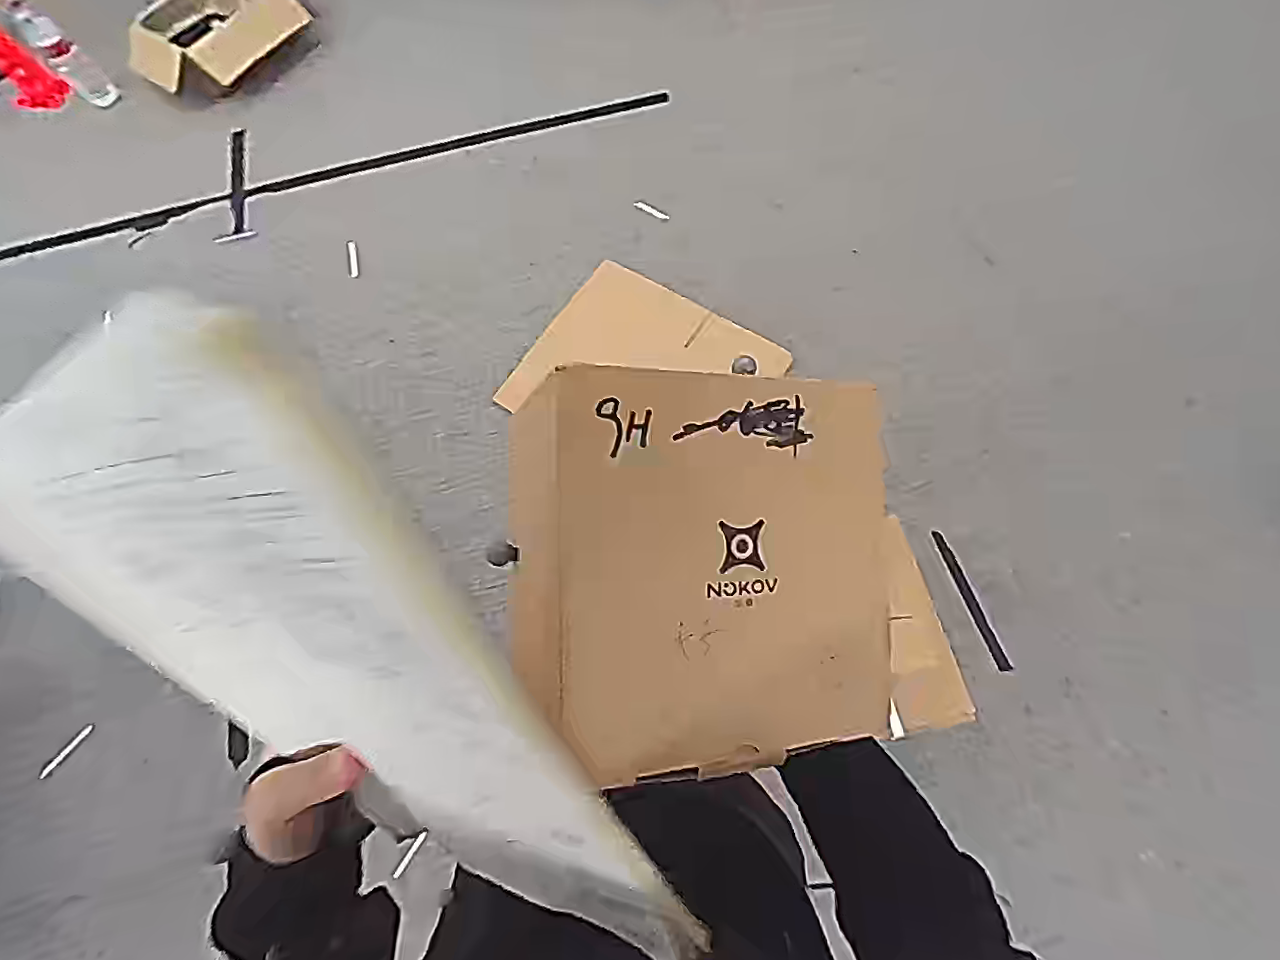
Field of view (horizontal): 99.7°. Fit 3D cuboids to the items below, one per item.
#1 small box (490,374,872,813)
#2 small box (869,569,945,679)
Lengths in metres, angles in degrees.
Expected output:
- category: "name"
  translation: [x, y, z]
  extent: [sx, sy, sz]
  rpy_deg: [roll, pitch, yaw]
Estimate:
- category: "small box"
  translation: [0.008, 0.045, 0.314]
  extent: [0.168, 0.176, 0.179]
  rpy_deg: [-1, 89, -22]
- category: "small box"
  translation: [0.400, 0.269, 0.973]
  extent: [0.179, 0.176, 0.168]
  rpy_deg: [-10, 70, -1]
